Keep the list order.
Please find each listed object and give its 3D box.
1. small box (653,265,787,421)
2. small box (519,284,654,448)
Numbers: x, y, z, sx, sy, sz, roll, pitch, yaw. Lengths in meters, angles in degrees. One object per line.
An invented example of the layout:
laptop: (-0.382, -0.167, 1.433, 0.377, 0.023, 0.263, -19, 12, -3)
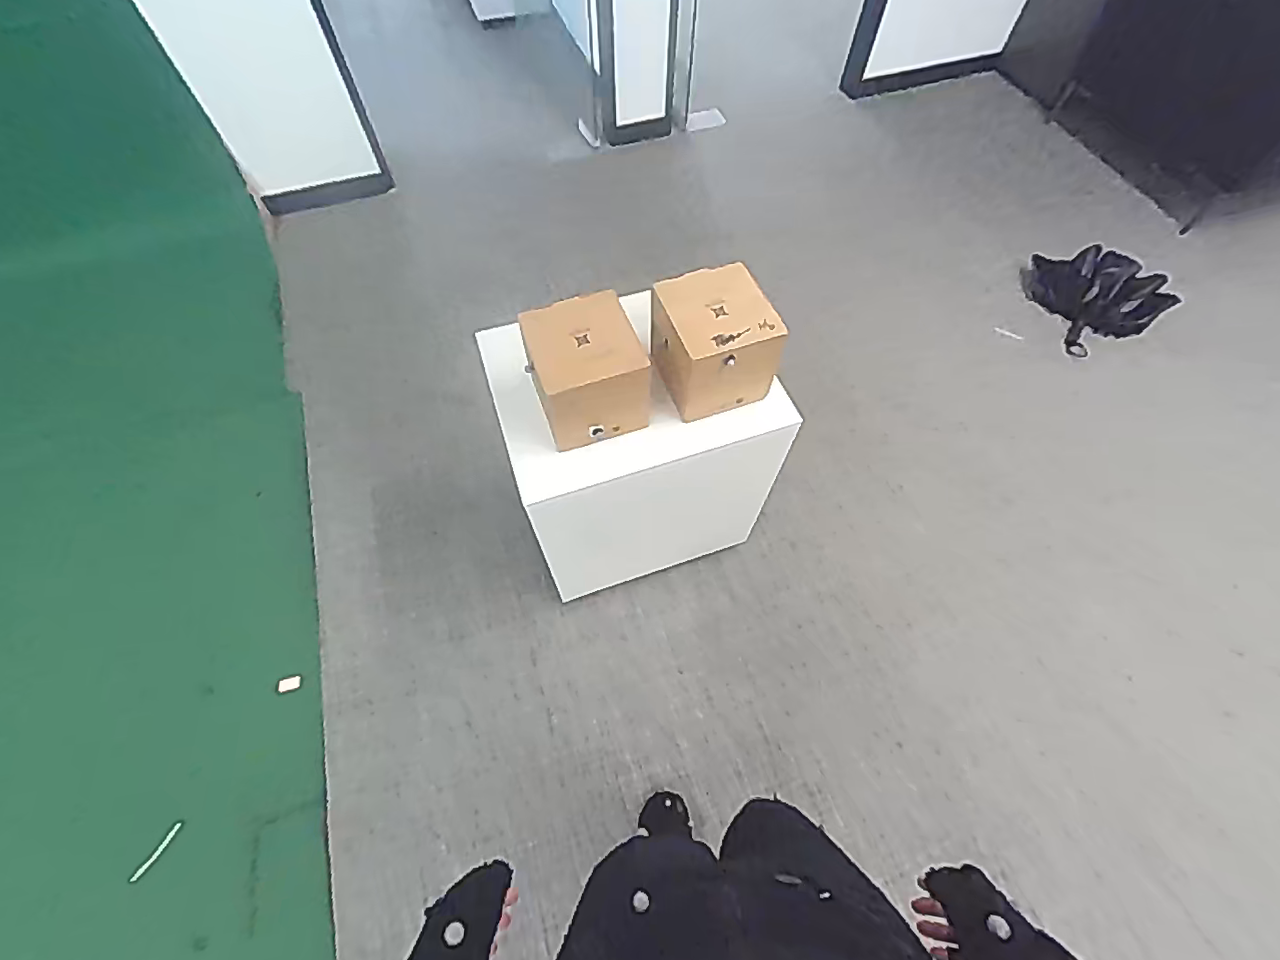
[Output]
small box: (0.125, -0.232, 0.933, 0.168, 0.176, 0.179, -17, 62, -9)
small box: (-0.086, -0.183, 0.891, 0.168, 0.176, 0.179, -19, 65, -10)
